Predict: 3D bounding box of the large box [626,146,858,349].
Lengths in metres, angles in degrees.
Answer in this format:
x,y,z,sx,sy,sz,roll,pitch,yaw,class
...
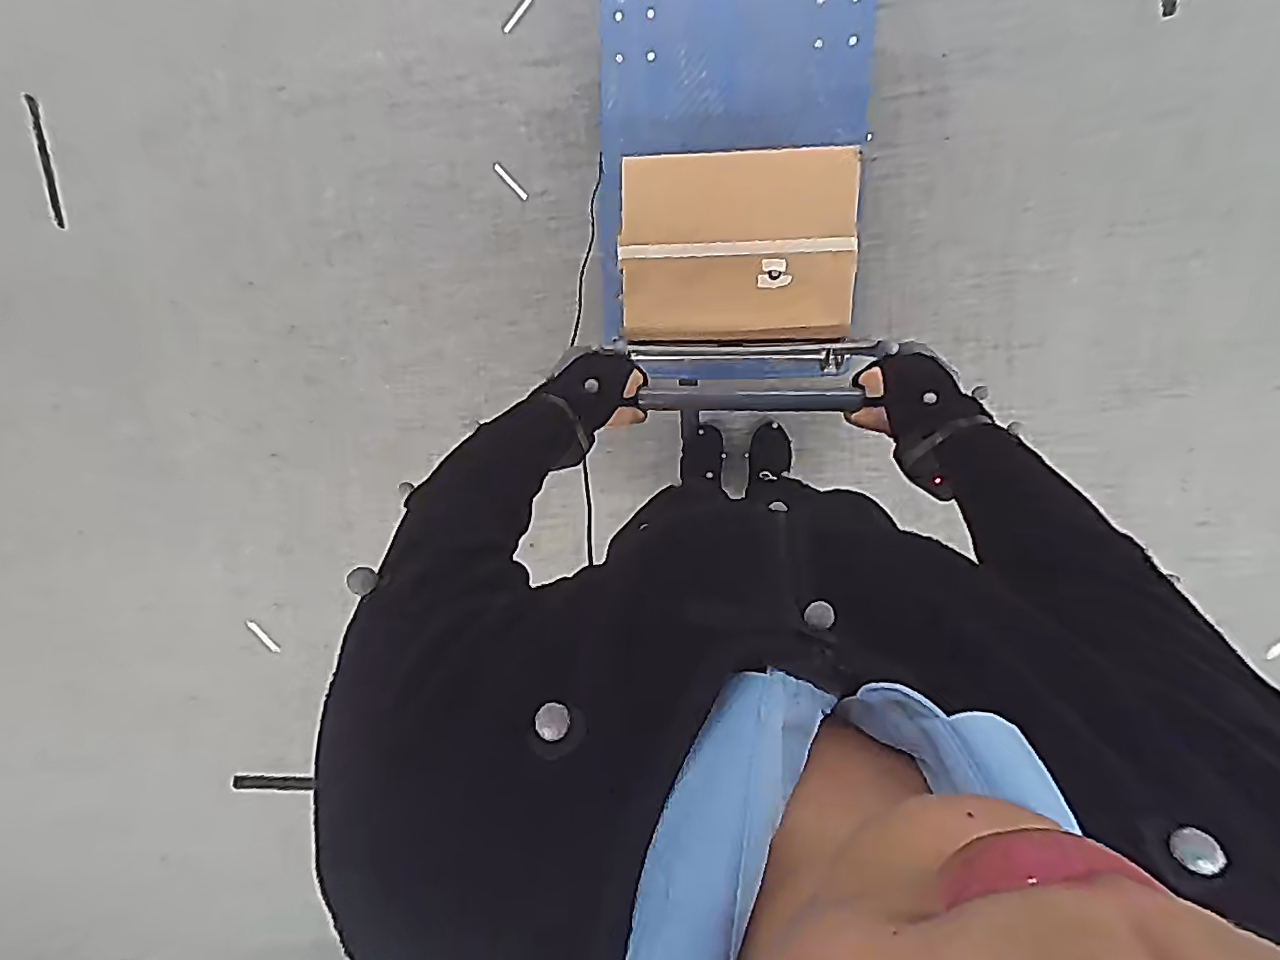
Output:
x,y,z,sx,sy,sz,roll,pitch,yaw,class
0.189,-0.442,1.108,0.408,0.320,0.320,0,101,6,large box
